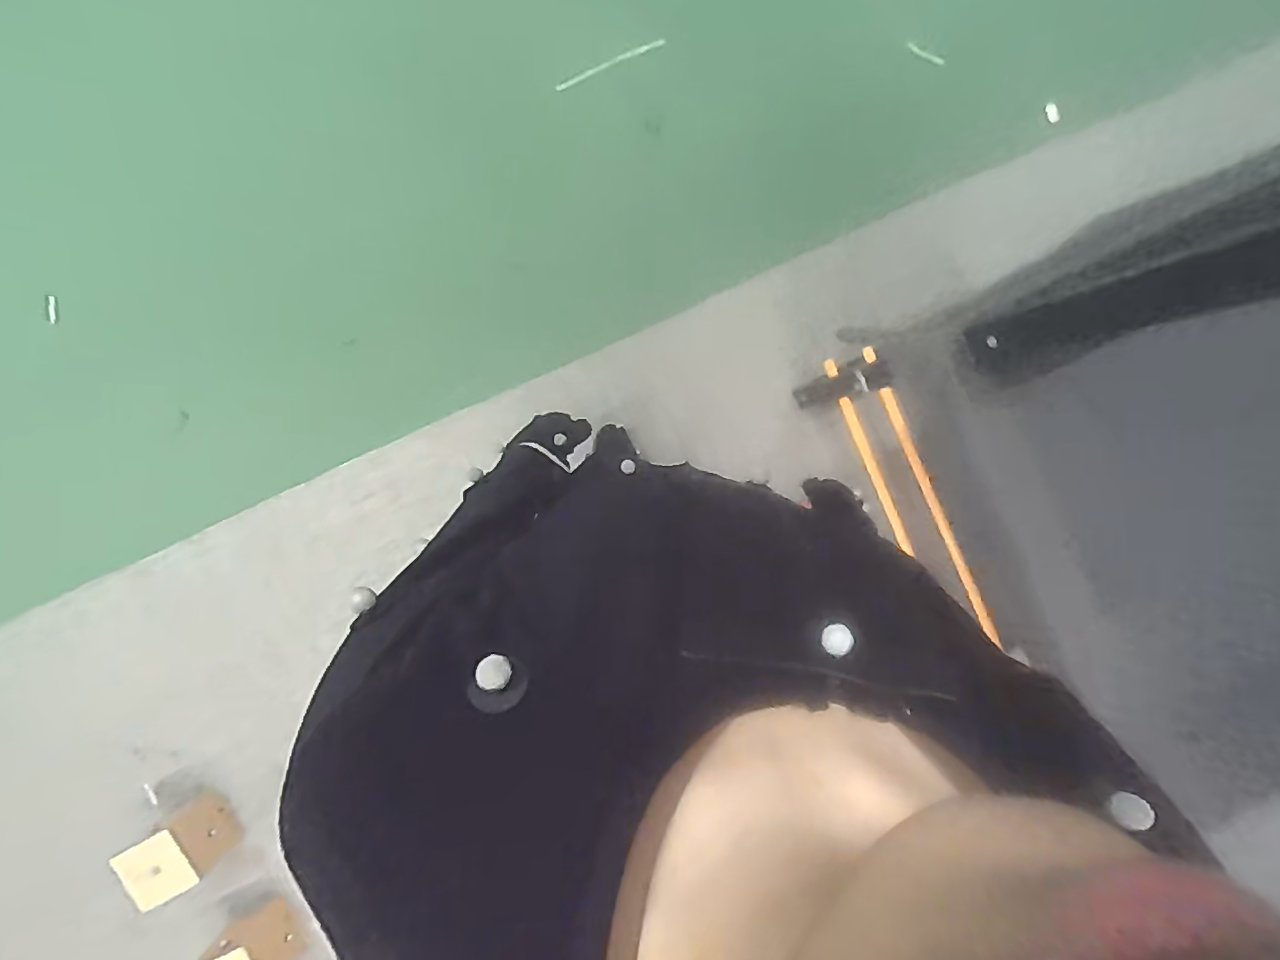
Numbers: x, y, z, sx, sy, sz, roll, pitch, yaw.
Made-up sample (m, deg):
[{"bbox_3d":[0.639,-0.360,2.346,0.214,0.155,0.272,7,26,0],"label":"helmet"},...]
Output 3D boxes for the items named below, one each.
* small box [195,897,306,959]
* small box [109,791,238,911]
[{"bbox_3d":[-1.066,1.300,1.470,0.179,0.176,0.168,-27,94,0],"label":"small box"},{"bbox_3d":[-1.230,0.980,1.447,0.179,0.176,0.168,-28,93,1],"label":"small box"}]
